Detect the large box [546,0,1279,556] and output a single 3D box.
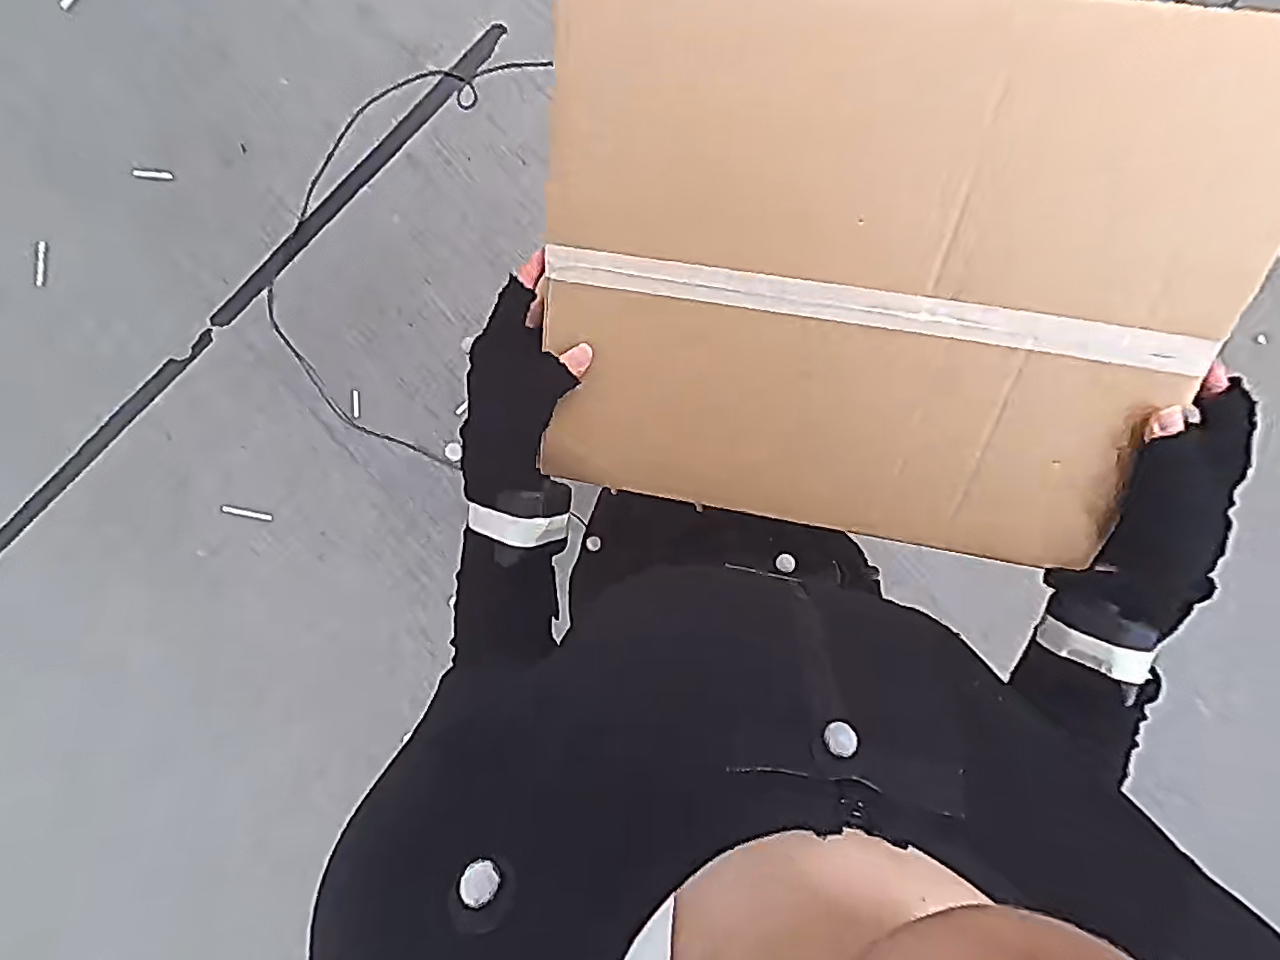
[{"bbox_3d":[0.156,-0.173,0.480,0.408,0.320,0.320,10,117,5],"label":"large box"}]
